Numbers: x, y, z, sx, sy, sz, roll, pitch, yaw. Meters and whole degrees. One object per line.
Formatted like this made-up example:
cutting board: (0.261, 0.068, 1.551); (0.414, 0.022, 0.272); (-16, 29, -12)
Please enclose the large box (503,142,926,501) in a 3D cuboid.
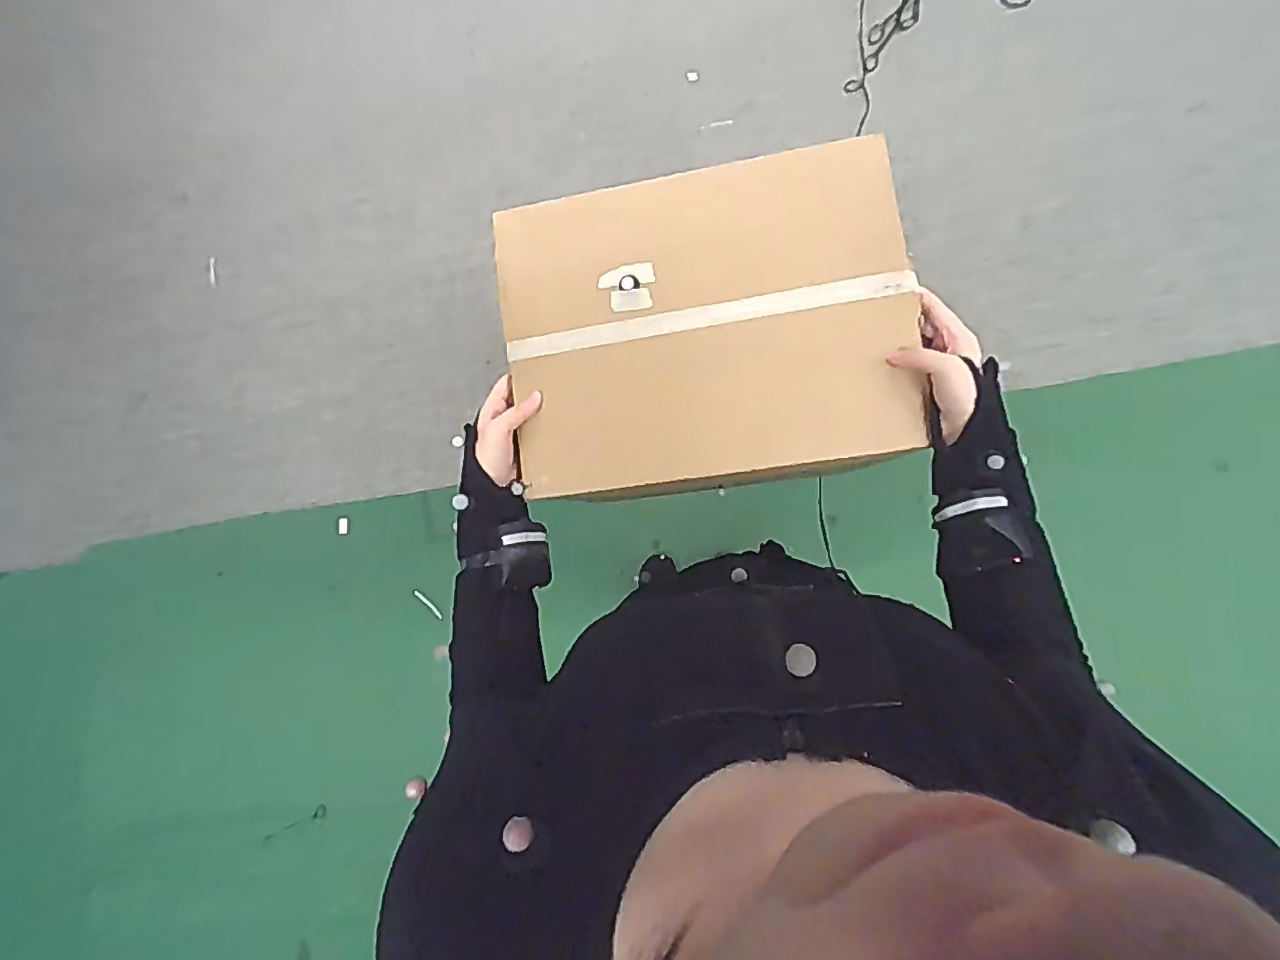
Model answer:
large box: (0.087, -0.151, 0.702); (0.408, 0.320, 0.320); (-8, 85, 9)
